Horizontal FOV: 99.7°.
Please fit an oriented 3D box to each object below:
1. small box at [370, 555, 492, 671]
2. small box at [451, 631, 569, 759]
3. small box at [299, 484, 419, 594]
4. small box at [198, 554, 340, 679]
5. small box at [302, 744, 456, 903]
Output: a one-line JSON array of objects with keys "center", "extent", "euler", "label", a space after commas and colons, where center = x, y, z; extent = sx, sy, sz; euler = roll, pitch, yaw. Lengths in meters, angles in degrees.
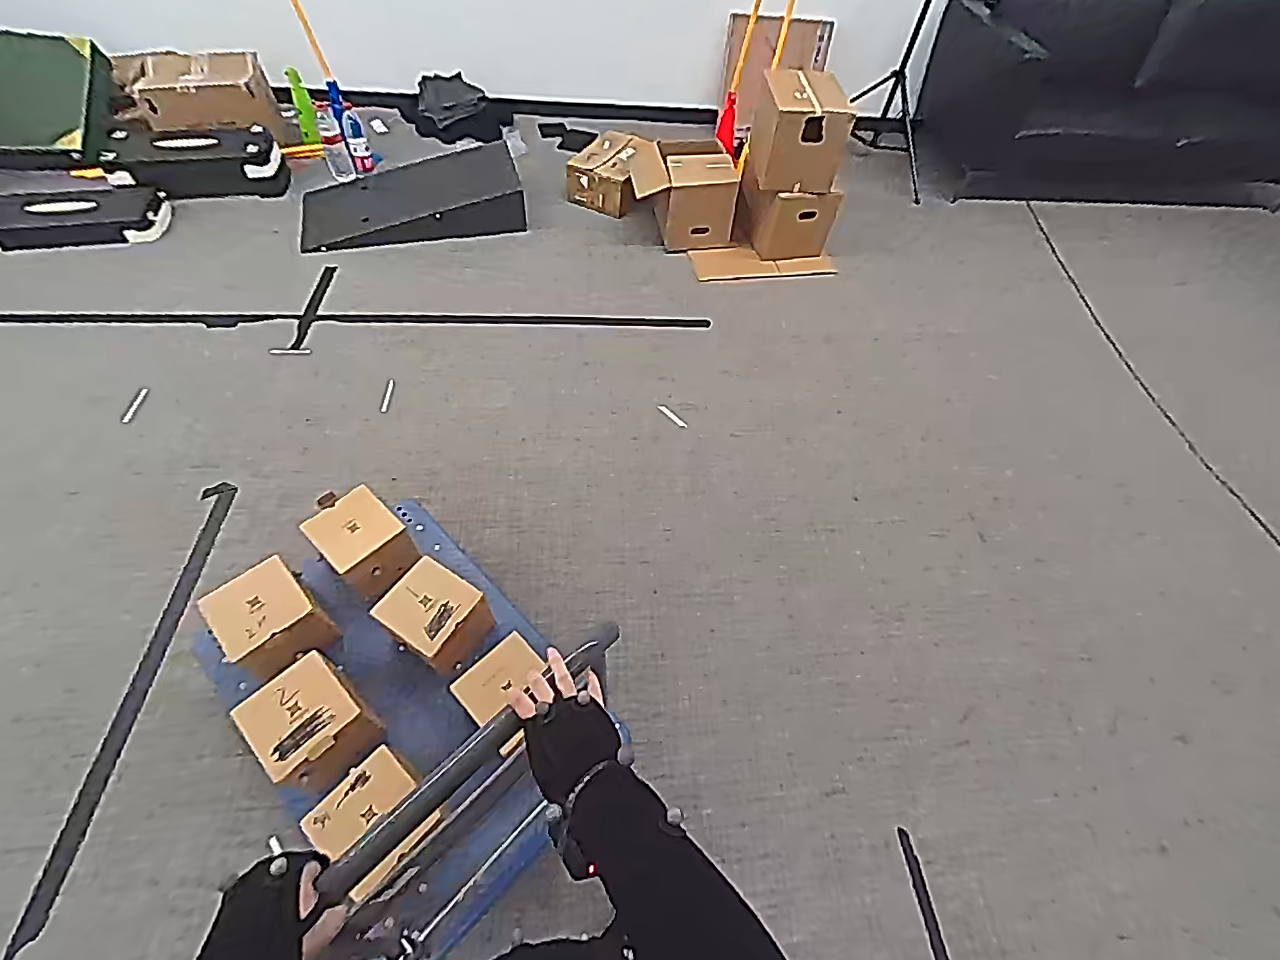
[{"center": [-0.457, 0.306, 1.212], "extent": [0.179, 0.176, 0.168], "euler": [28, 57, 14], "label": "small box"}, {"center": [-0.262, 0.454, 1.131], "extent": [0.179, 0.176, 0.168], "euler": [40, 60, 21], "label": "small box"}, {"center": [-0.663, 0.150, 1.298], "extent": [0.179, 0.176, 0.168], "euler": [37, 60, 19], "label": "small box"}, {"center": [-0.797, 0.301, 1.177], "extent": [0.168, 0.176, 0.179], "euler": [-37, 67, -27], "label": "small box"}, {"center": [-0.463, 0.622, 0.990], "extent": [0.179, 0.176, 0.168], "euler": [37, 59, 18], "label": "small box"}]
